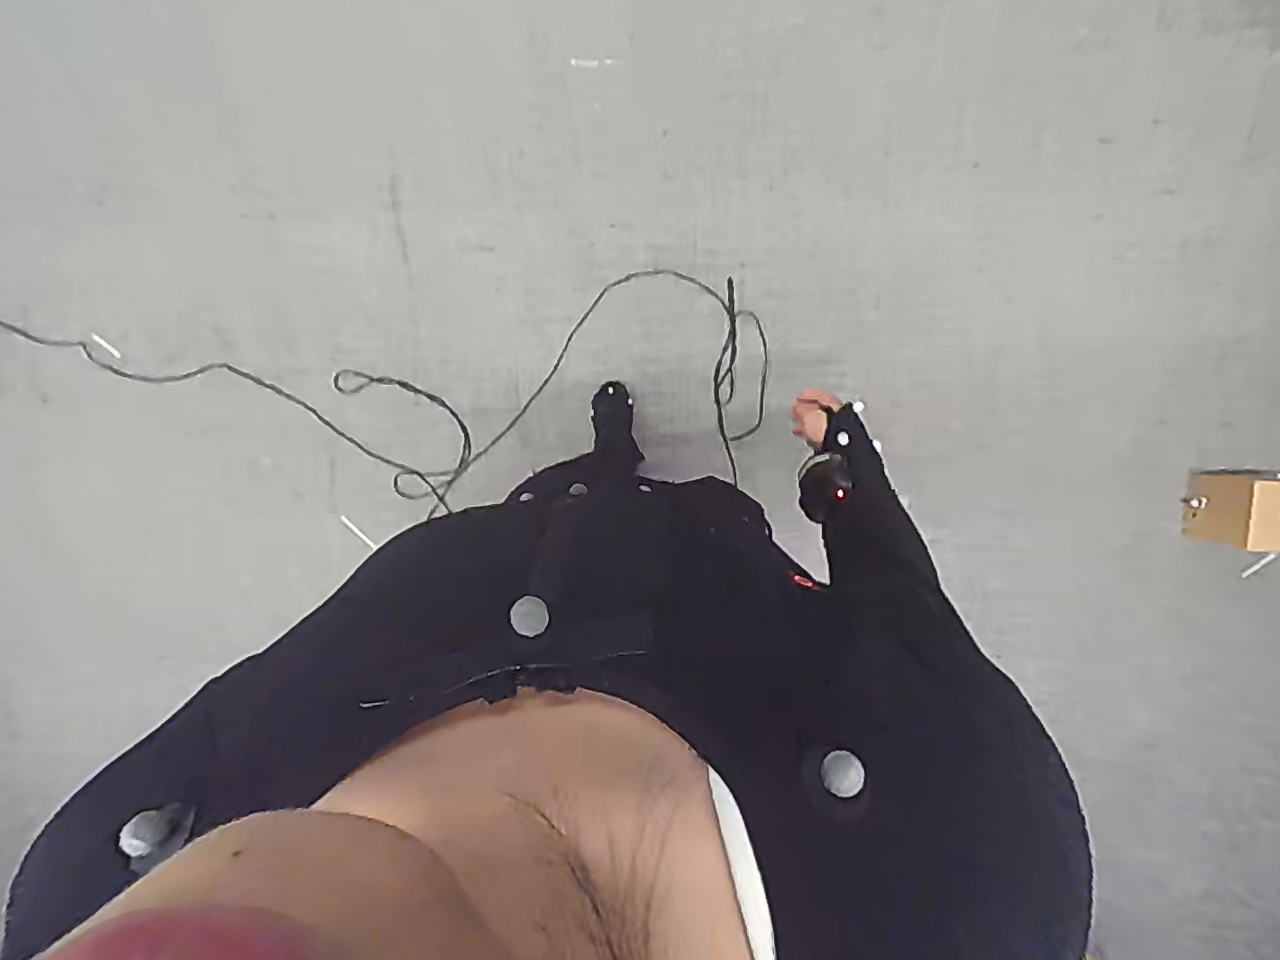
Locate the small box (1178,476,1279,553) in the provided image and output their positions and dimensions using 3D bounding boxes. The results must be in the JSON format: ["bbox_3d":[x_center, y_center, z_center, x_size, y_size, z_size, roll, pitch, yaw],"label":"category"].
[{"bbox_3d":[1.489,0.079,1.320,0.179,0.176,0.168,0,95,5],"label":"small box"}]
